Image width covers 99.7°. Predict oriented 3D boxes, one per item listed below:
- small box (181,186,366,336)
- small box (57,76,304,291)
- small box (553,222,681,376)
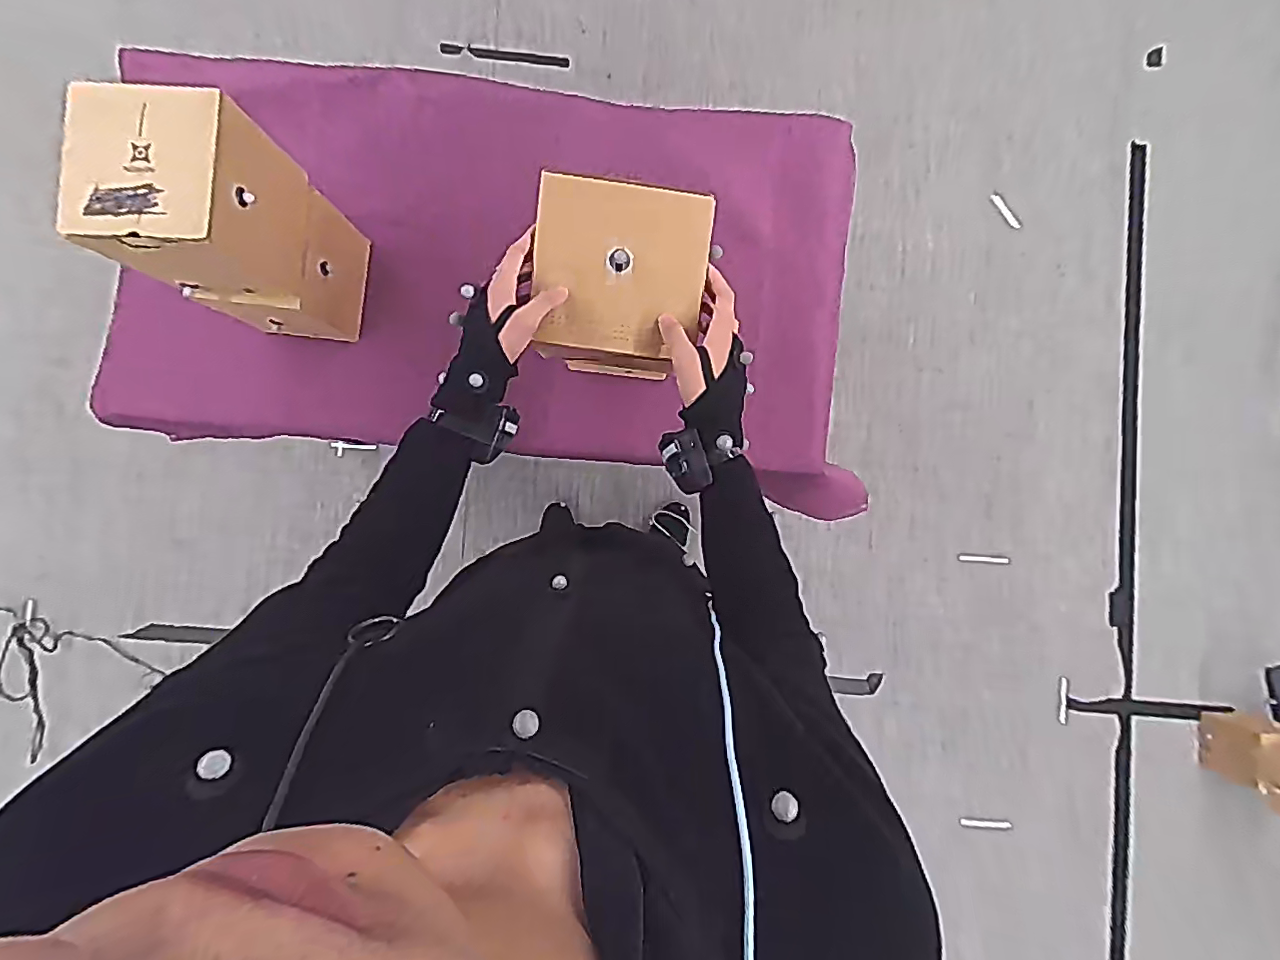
[{"bbox_3d":[-0.548,-0.333,0.832,0.168,0.176,0.179,7,89,-2],"label":"small box"},{"bbox_3d":[-0.547,-0.348,0.668,0.168,0.176,0.179,3,88,-2],"label":"small box"},{"bbox_3d":[-0.032,-0.270,0.845,0.168,0.176,0.179,7,88,-1],"label":"small box"}]
